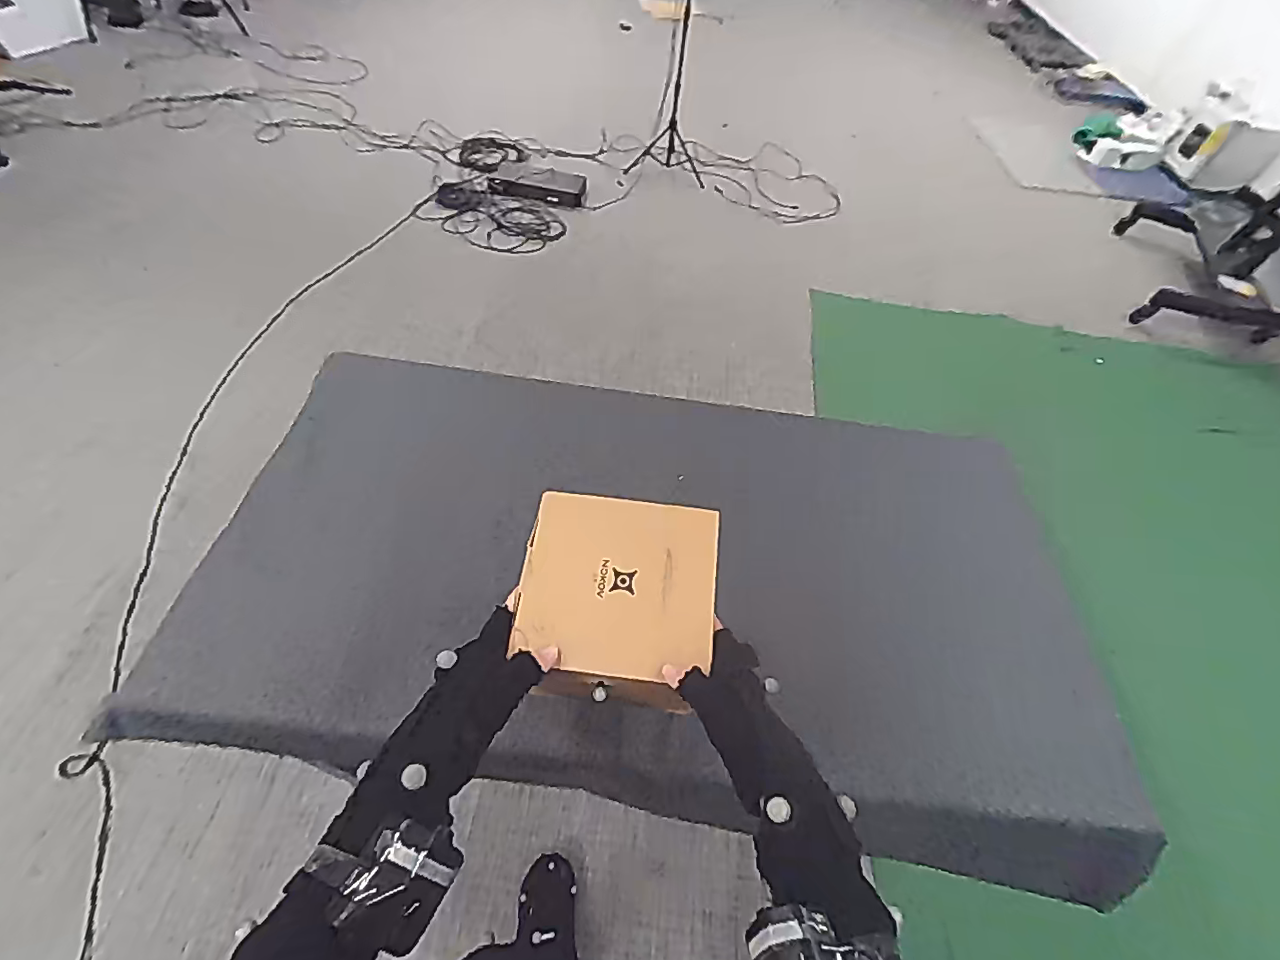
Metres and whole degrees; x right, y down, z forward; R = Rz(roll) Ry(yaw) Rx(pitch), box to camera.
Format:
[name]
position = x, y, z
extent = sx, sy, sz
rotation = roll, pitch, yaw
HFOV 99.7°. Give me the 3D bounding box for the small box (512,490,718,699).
[small box]
position = -0.018, 0.126, 0.564
extent = 0.179, 0.176, 0.168
rotation = 5, 61, 1
